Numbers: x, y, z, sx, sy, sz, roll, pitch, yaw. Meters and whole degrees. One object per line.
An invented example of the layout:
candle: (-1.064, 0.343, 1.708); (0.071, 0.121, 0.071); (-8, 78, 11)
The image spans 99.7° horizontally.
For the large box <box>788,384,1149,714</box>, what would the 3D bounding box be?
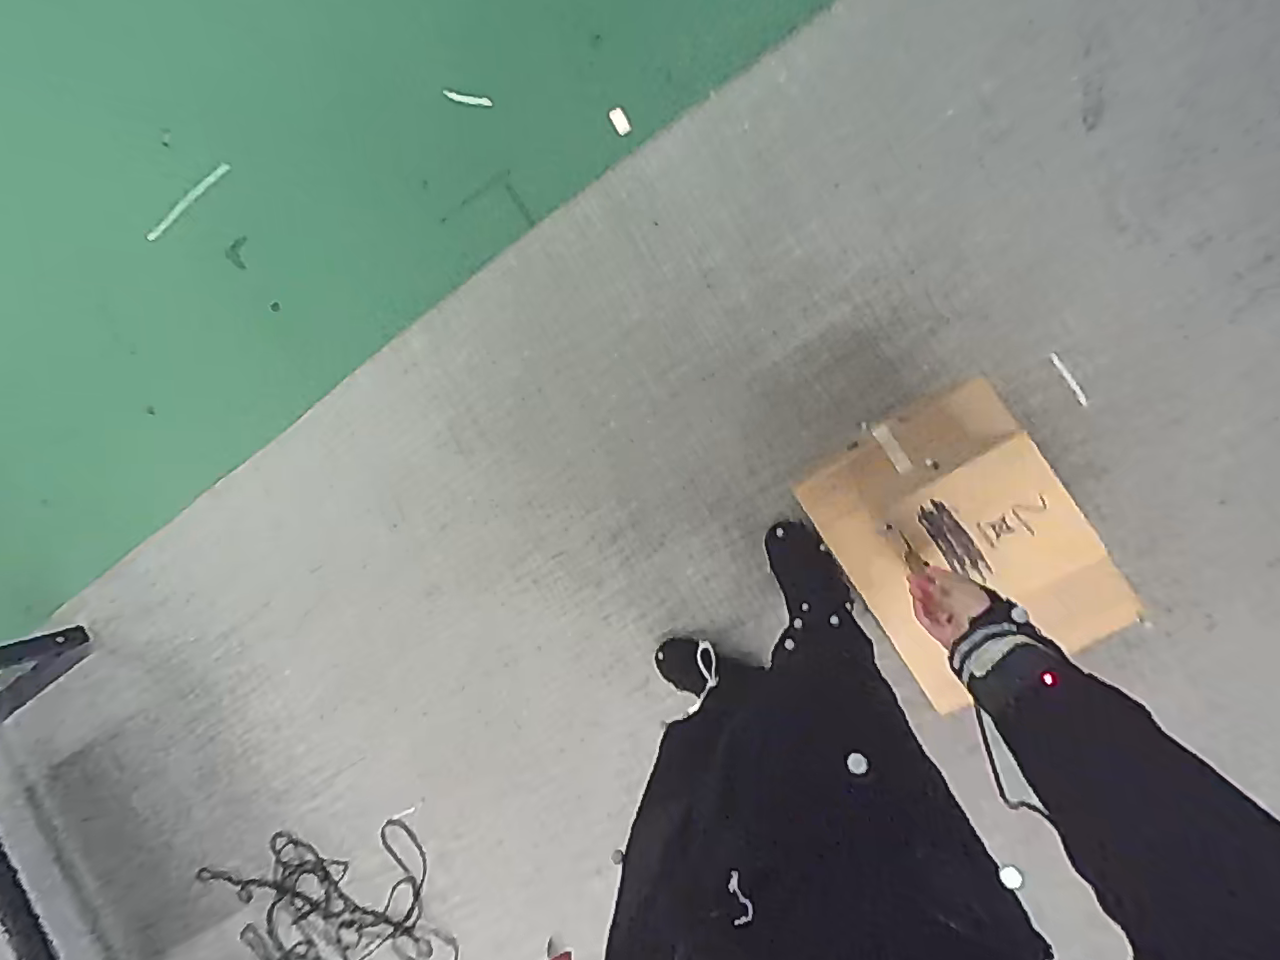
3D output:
large box: (0.502, 0.097, 0.933); (0.320, 0.320, 0.408); (-33, 86, 13)
